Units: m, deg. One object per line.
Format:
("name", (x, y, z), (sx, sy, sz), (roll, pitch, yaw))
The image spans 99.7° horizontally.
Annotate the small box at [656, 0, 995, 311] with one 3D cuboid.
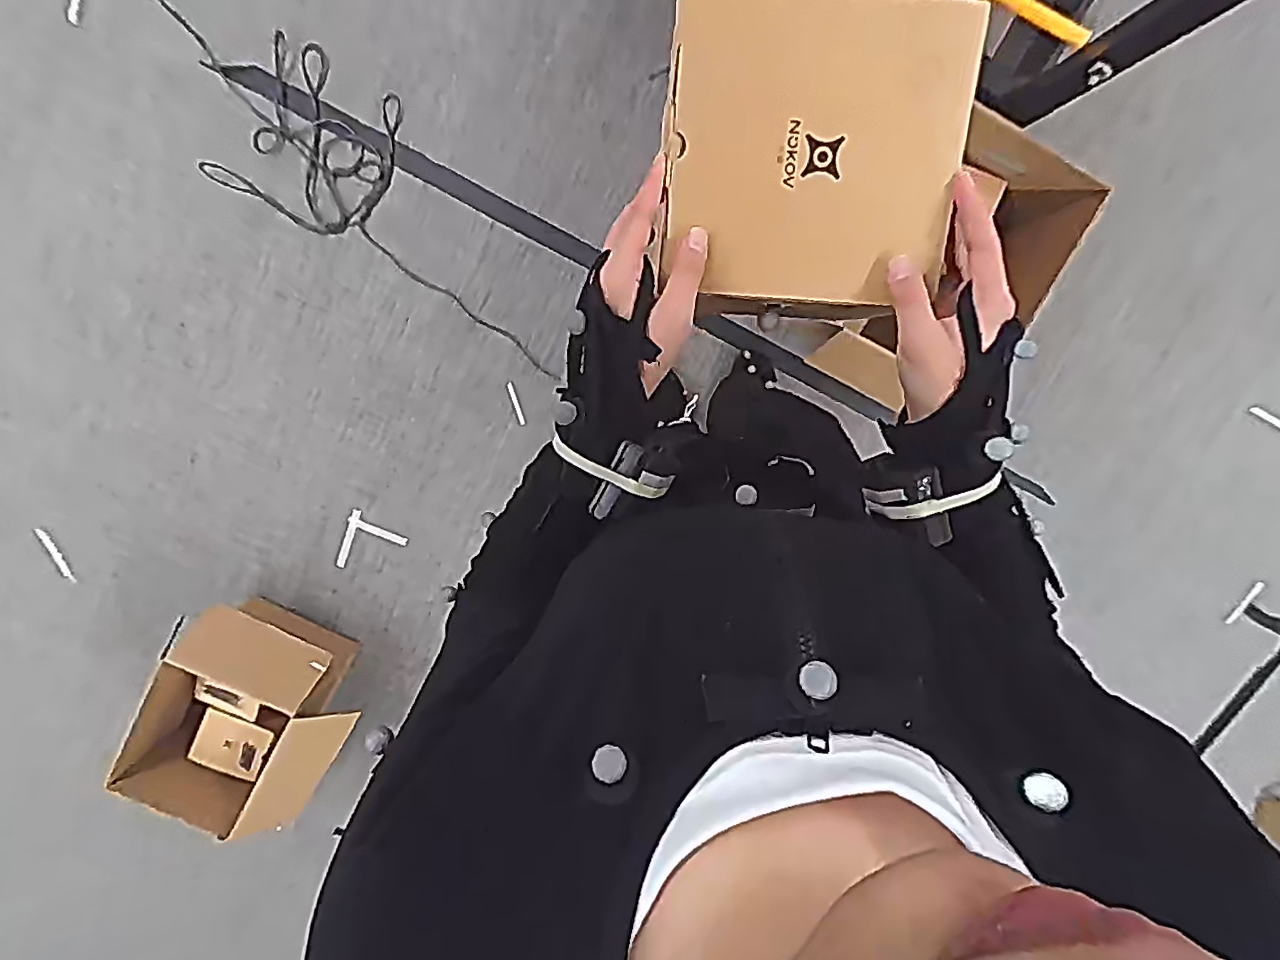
("small box", (0.106, -0.216, 0.395), (0.179, 0.176, 0.168), (4, 105, 0))
